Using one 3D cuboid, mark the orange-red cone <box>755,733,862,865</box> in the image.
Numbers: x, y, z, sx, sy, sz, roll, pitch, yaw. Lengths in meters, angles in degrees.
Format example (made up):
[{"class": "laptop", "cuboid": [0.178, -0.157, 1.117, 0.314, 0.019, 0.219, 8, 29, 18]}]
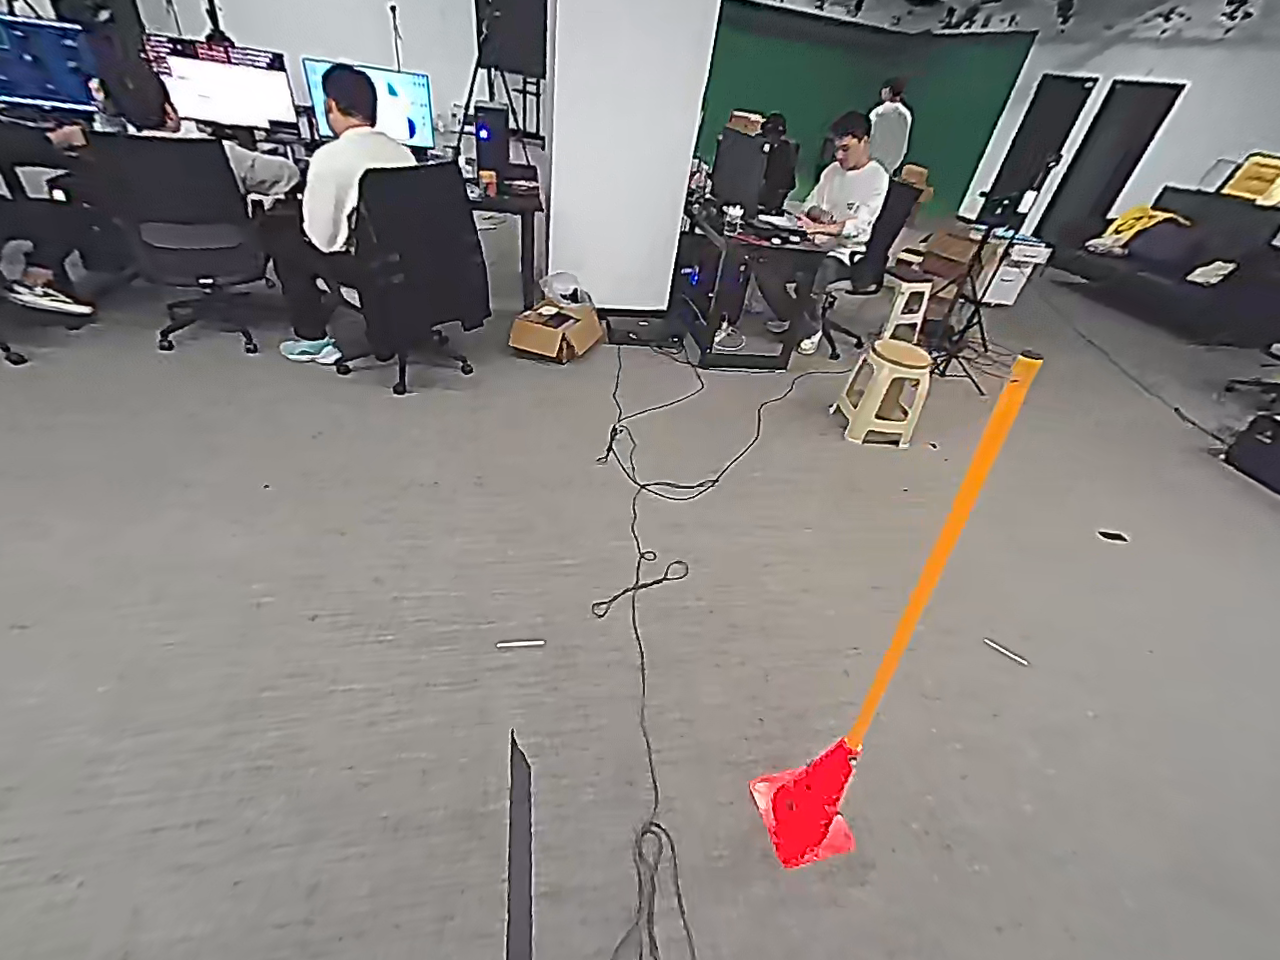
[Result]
[{"class": "orange-red cone", "cuboid": [0.419, 0.678, 1.216, 0.199, 0.360, 0.198, -4, 38, -15]}]
